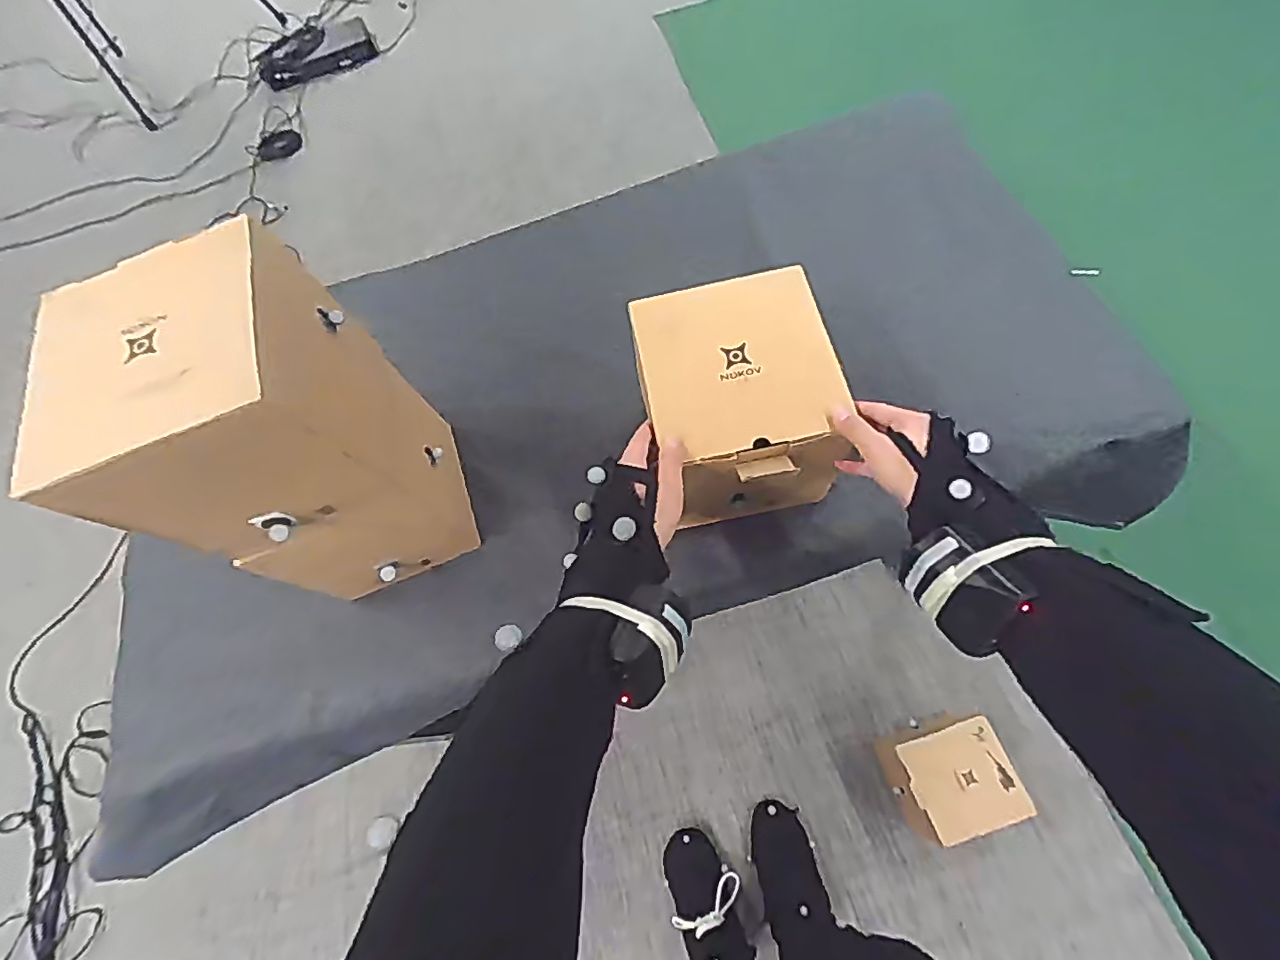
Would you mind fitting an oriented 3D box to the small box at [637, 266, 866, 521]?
[{"bbox_3d":[0.096,-0.076,0.544,0.168,0.176,0.179,-12,68,2],"label":"small box"}]

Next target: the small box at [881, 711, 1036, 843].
[{"bbox_3d":[0.576,0.549,1.014,0.179,0.176,0.168,-20,64,0],"label":"small box"}]

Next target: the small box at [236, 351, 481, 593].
[{"bbox_3d":[-0.294,0.001,0.583,0.168,0.176,0.179,-22,66,-1],"label":"small box"}]

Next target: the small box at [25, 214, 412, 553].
[{"bbox_3d":[-0.313,-0.064,0.435,0.168,0.176,0.179,-23,67,0],"label":"small box"}]
